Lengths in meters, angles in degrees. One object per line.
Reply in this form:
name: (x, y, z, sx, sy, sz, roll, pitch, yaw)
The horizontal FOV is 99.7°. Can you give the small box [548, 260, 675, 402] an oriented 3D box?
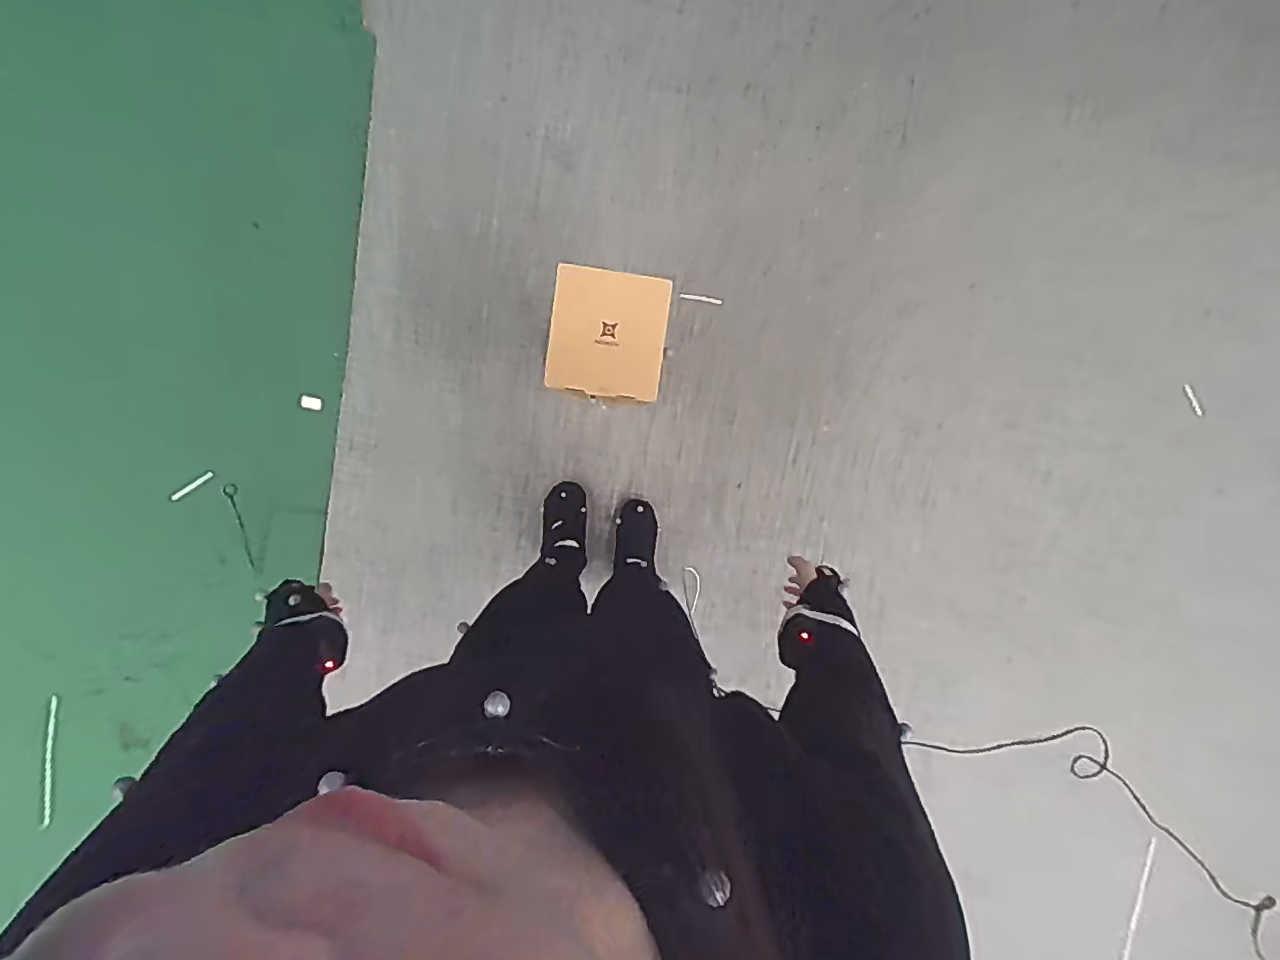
small box: (-0.046, -0.223, 0.854, 0.168, 0.176, 0.179, 8, 97, -3)
